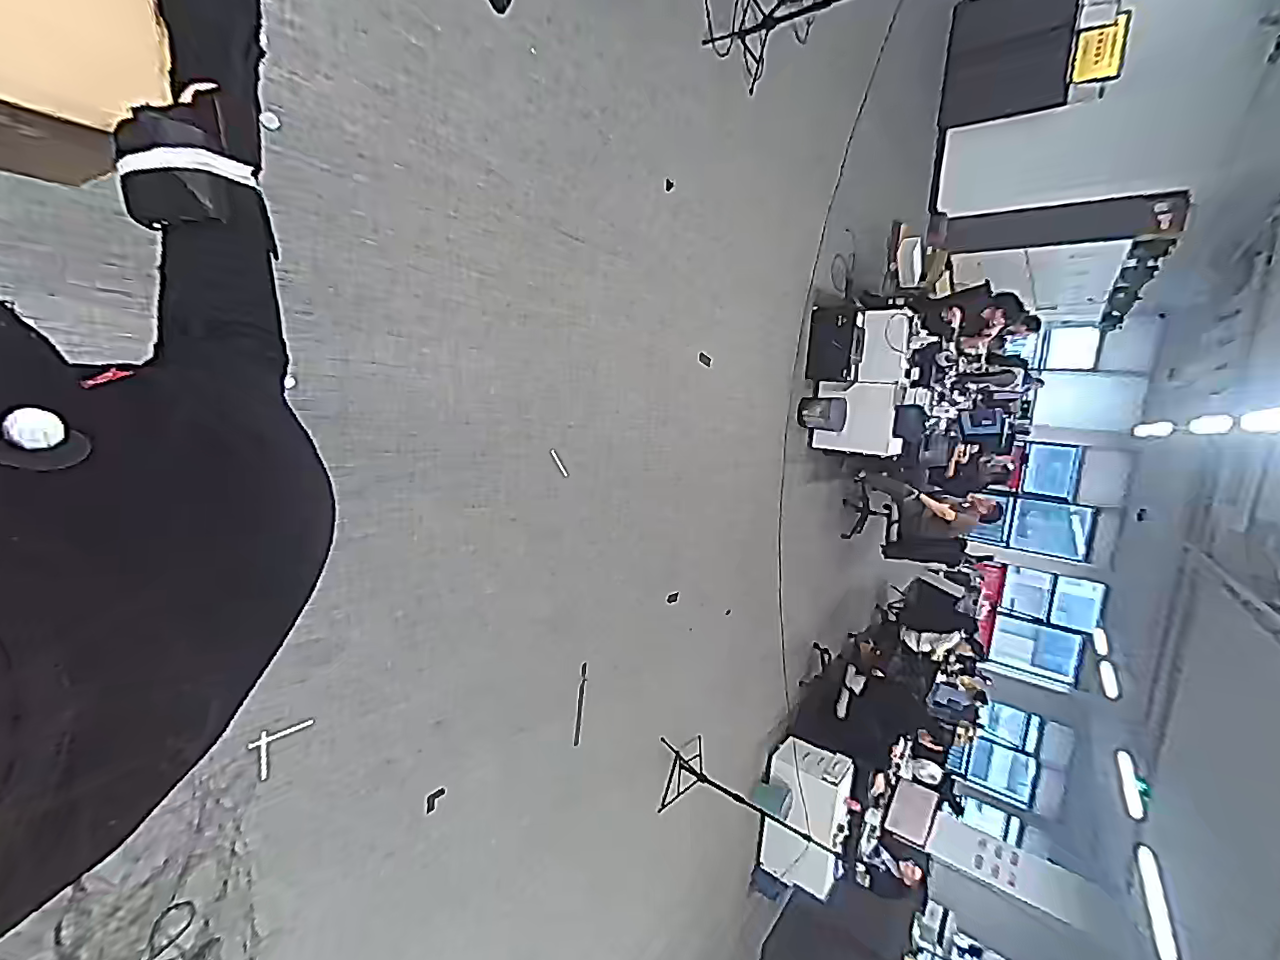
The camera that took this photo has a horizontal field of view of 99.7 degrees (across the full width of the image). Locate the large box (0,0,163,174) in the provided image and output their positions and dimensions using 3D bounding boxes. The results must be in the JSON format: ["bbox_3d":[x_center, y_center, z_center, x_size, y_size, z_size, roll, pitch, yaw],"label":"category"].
[{"bbox_3d":[-0.571,-0.406,0.287,0.408,0.320,0.320,-10,112,-55],"label":"large box"}]
